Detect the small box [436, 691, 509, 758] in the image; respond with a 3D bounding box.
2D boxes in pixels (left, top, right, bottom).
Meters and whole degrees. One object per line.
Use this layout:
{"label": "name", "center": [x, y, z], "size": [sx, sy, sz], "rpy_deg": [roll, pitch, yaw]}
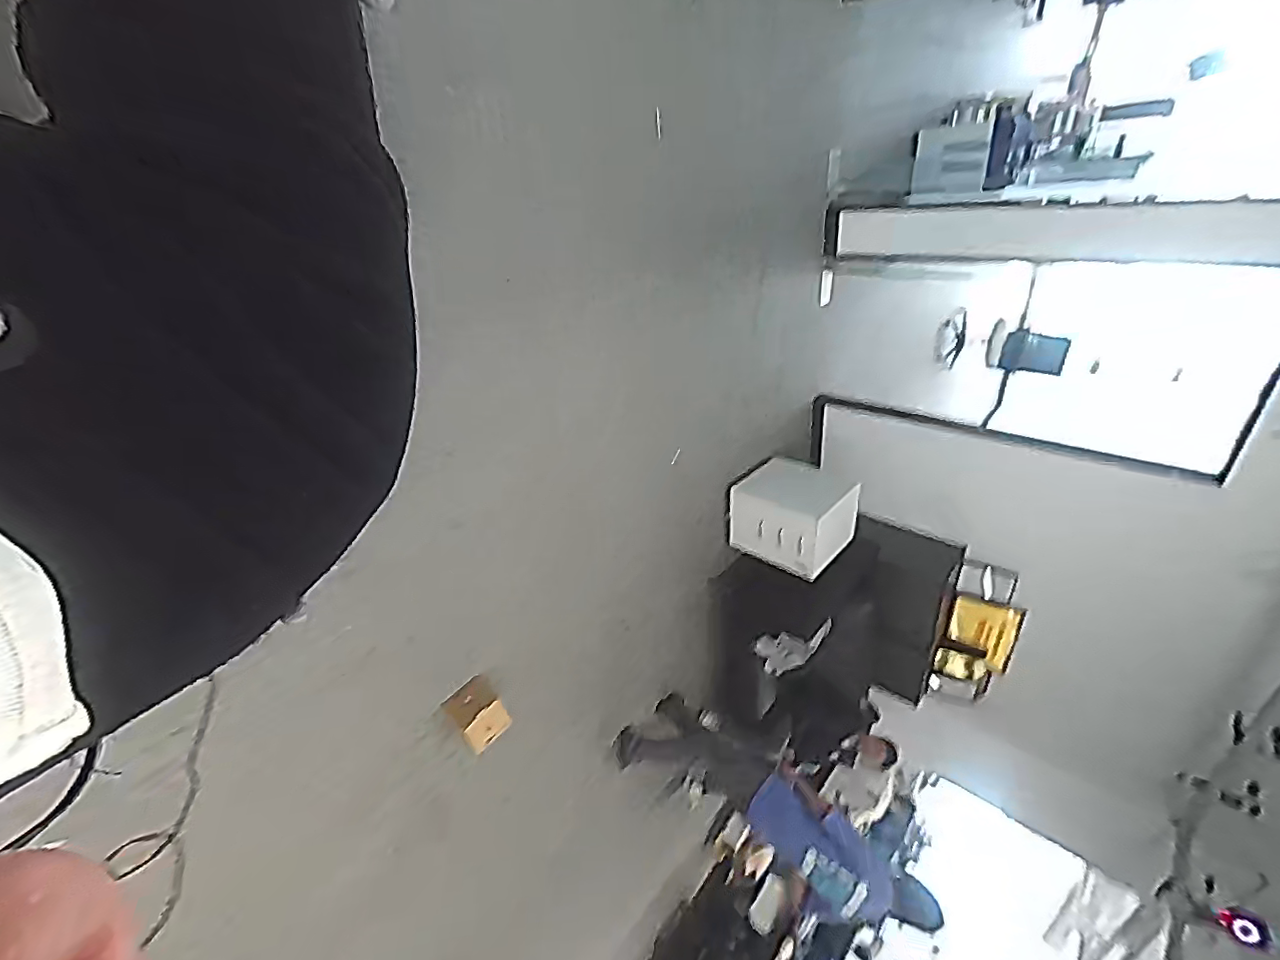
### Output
{"label": "small box", "center": [-0.650, 0.941, 2.084], "size": [0.179, 0.176, 0.168], "rpy_deg": [-61, 143, -13]}
